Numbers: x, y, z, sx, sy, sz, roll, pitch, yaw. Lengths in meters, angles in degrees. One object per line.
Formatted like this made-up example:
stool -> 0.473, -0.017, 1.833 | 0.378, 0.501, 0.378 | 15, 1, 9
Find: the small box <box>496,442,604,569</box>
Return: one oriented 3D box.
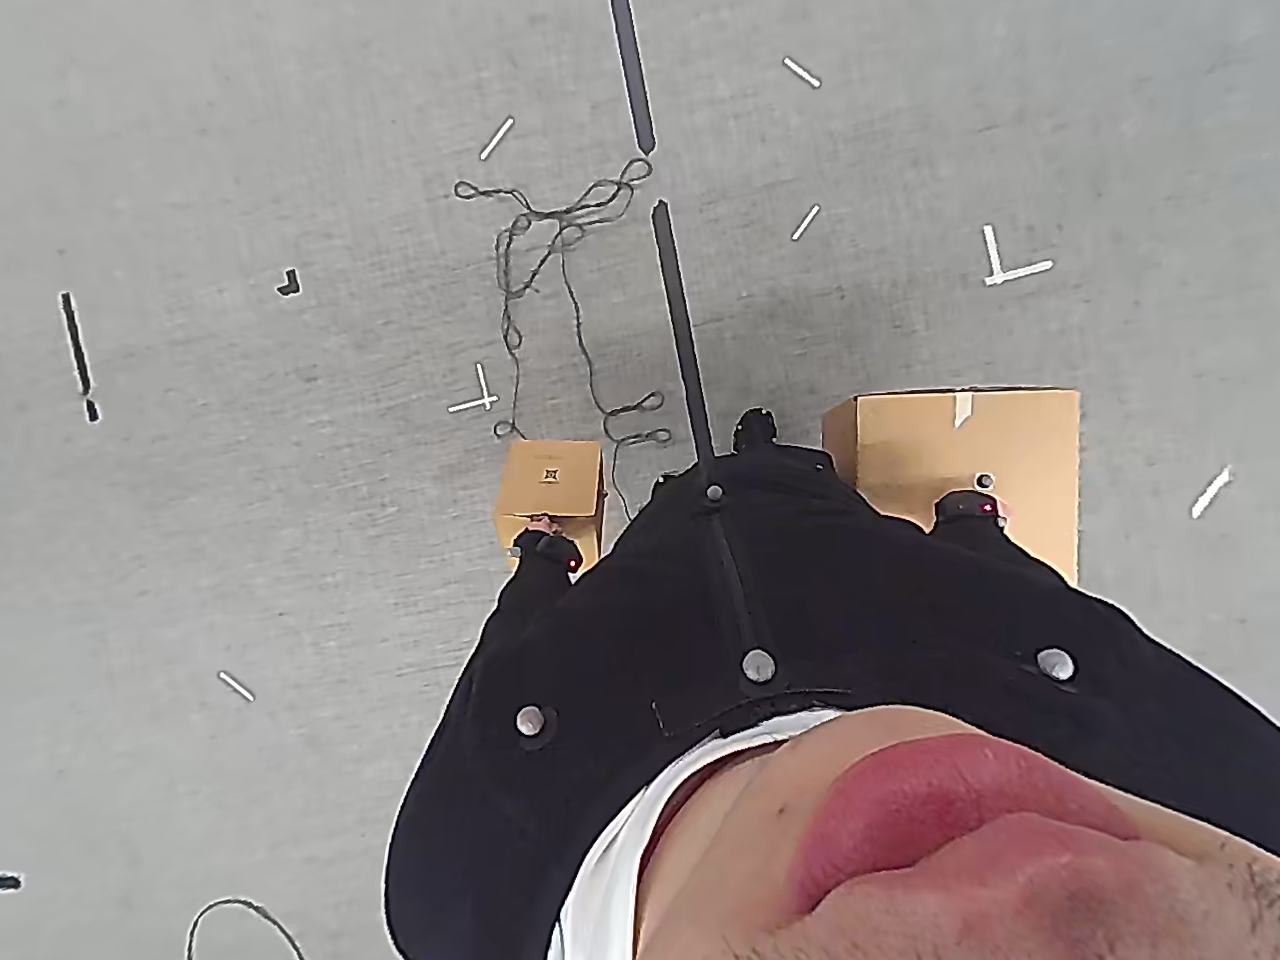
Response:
small box -> -0.154, 0.050, 0.992 | 0.168, 0.179, 0.176 | 1, 139, -1
